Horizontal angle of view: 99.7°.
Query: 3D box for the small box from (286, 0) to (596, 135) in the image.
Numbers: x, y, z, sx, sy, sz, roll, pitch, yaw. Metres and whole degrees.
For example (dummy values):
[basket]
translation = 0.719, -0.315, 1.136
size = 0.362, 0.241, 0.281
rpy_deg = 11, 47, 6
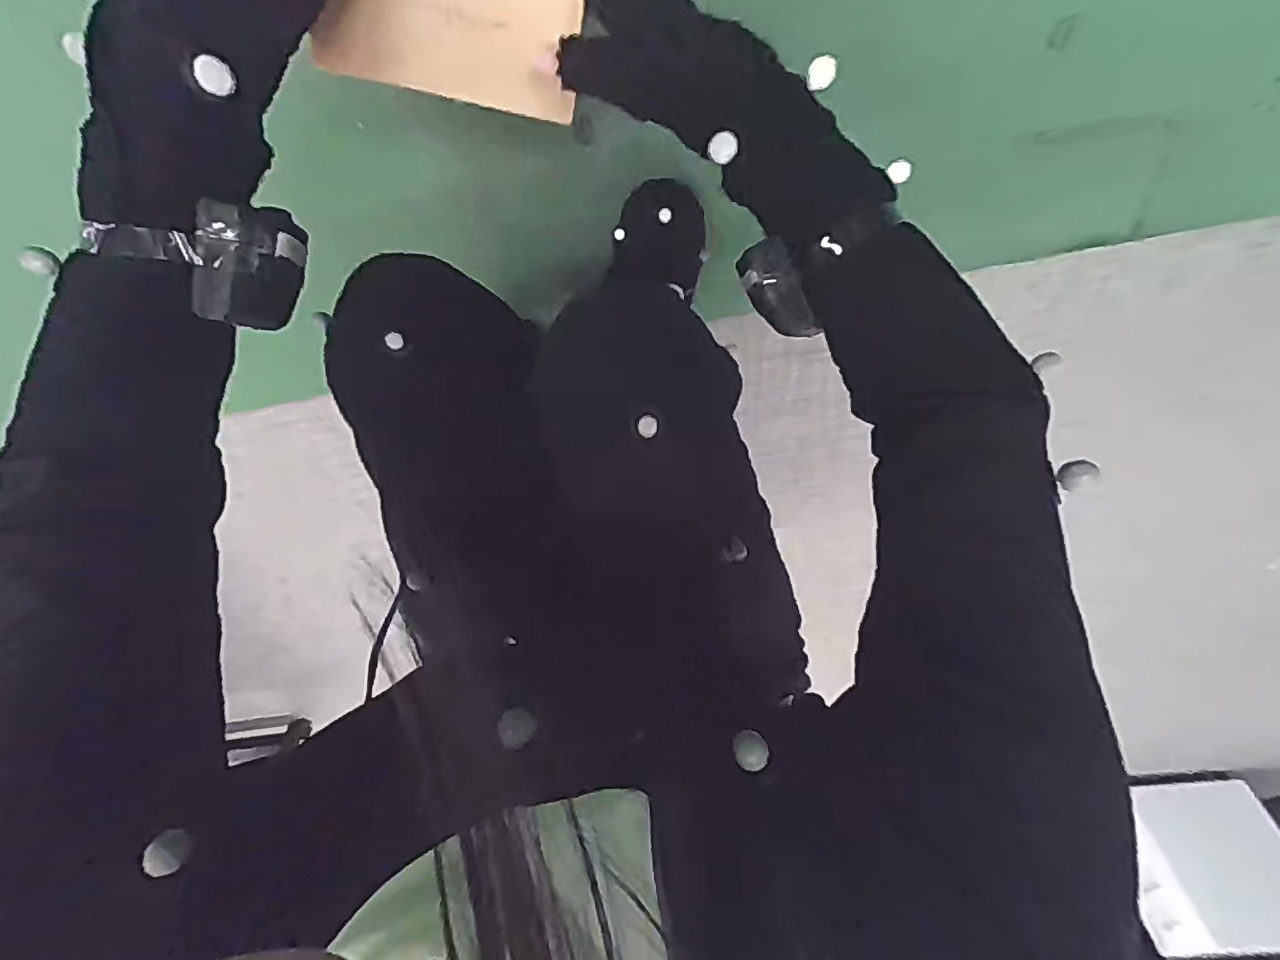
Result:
[small box]
translation = -0.109, -0.349, 0.345
size = 0.168, 0.176, 0.179
rpy_deg = 8, 128, -10
